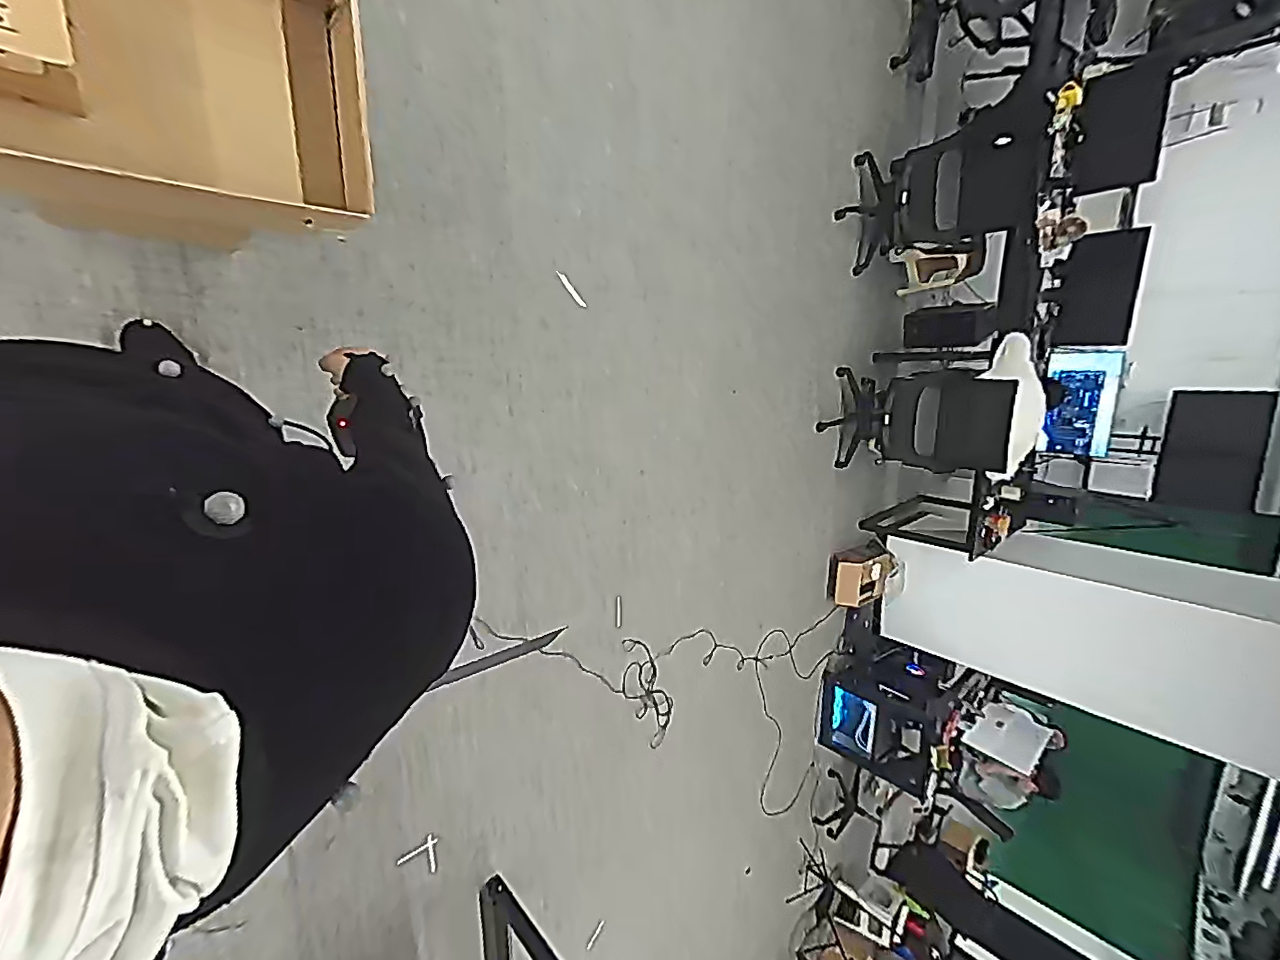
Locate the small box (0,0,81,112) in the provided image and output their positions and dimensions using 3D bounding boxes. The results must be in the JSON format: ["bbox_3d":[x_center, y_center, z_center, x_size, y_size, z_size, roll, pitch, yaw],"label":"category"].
[{"bbox_3d":[-0.854,-0.611,0.692,0.168,0.176,0.179,-11,105,-40],"label":"small box"}]
